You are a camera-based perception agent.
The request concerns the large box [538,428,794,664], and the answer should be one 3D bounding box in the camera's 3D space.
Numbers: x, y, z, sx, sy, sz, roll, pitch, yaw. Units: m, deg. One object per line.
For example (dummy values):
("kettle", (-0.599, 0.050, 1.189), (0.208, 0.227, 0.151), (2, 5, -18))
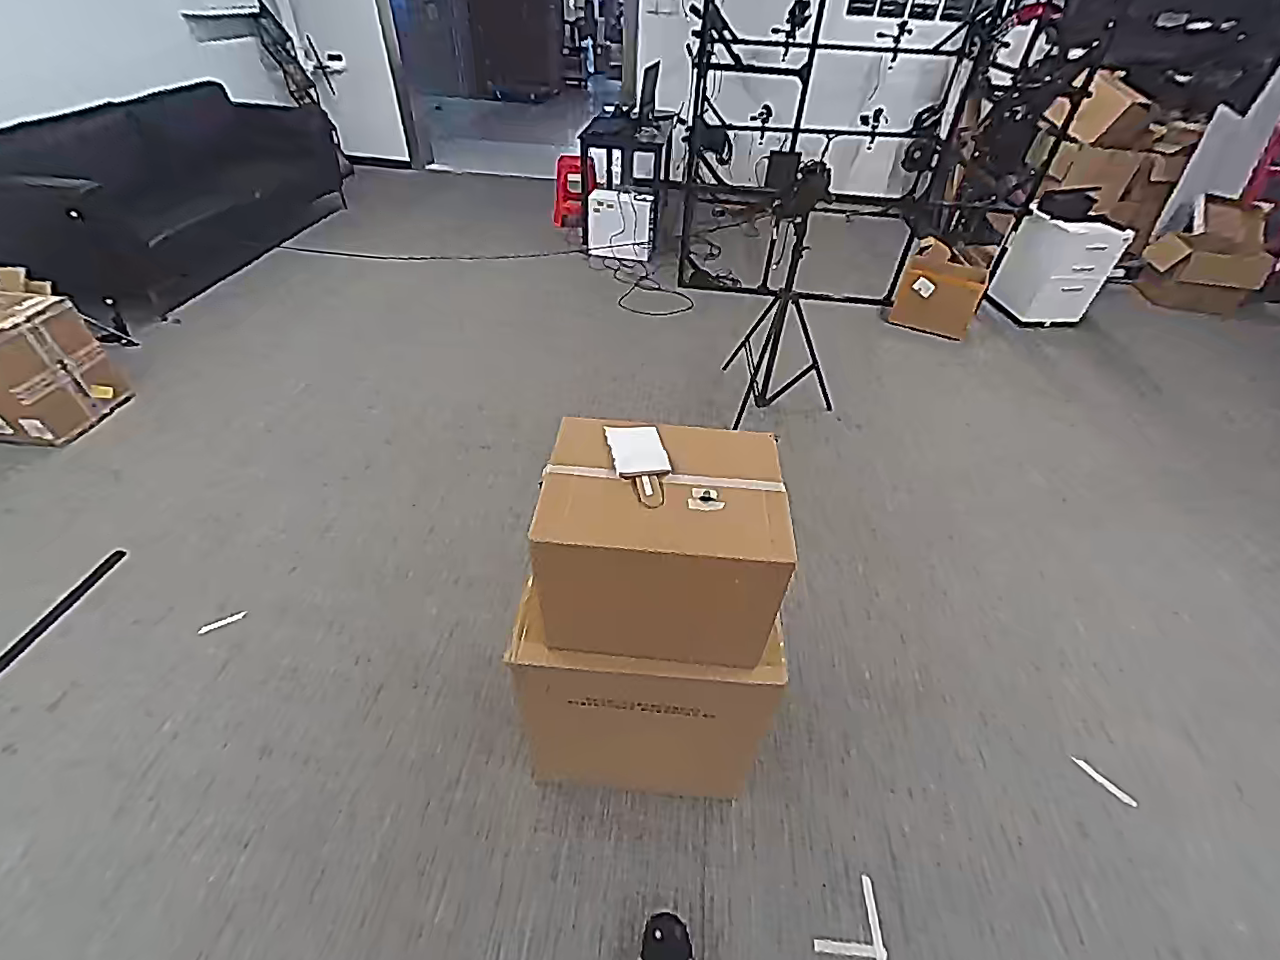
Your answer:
("large box", (0.038, 0.125, 1.031), (0.408, 0.320, 0.320), (5, 43, 1))
